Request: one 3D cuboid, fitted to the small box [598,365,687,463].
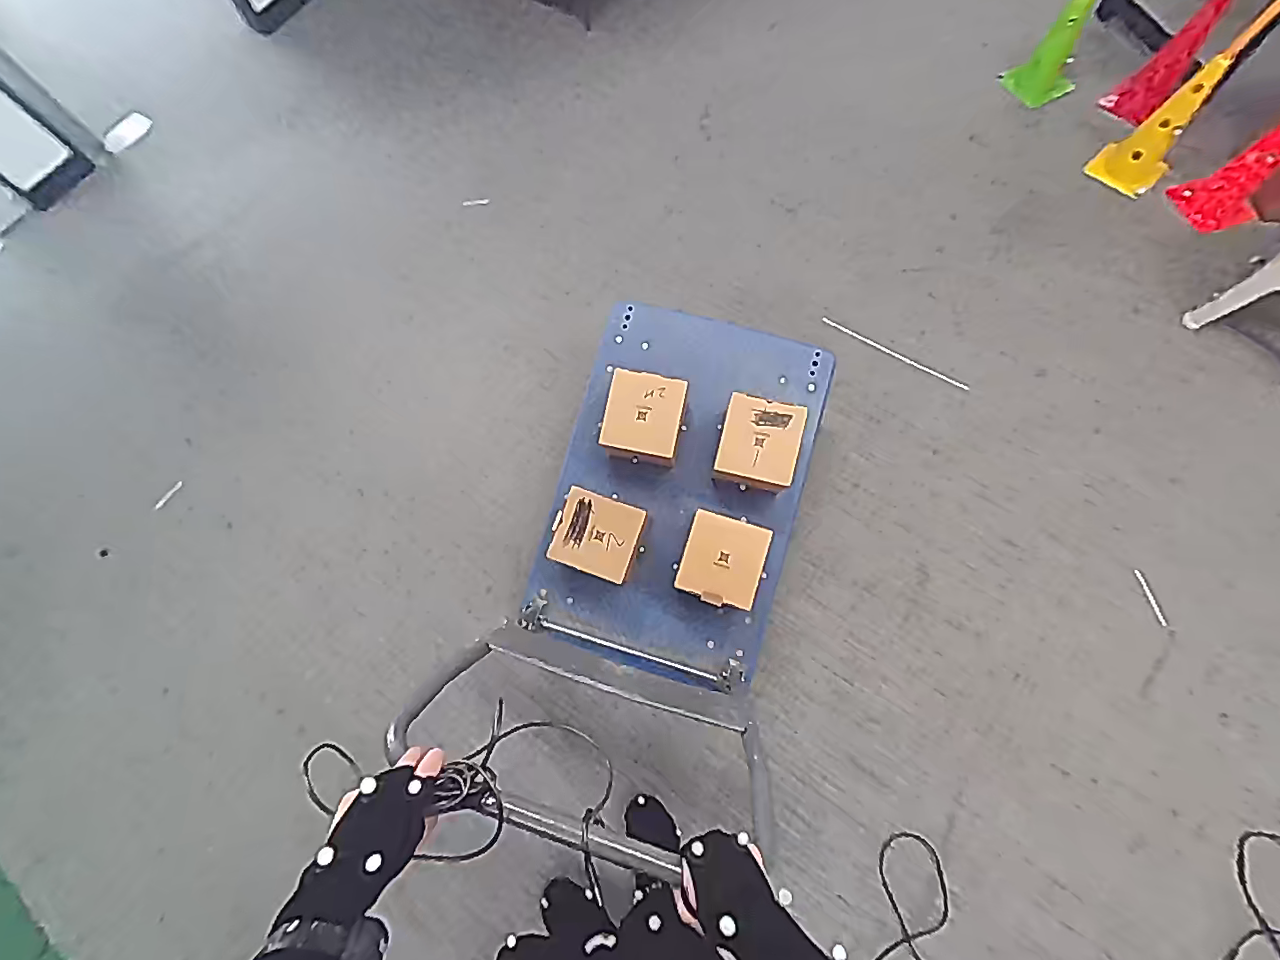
[{"bbox_3d":[0.013,-0.144,1.251,0.168,0.176,0.179,12,85,6],"label":"small box"}]

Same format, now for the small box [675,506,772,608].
[{"bbox_3d":[0.180,0.168,1.204,0.168,0.176,0.179,17,86,7],"label":"small box"}]

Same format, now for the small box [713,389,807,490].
[{"bbox_3d":[0.262,-0.084,1.221,0.168,0.176,0.179,14,86,7],"label":"small box"}]
